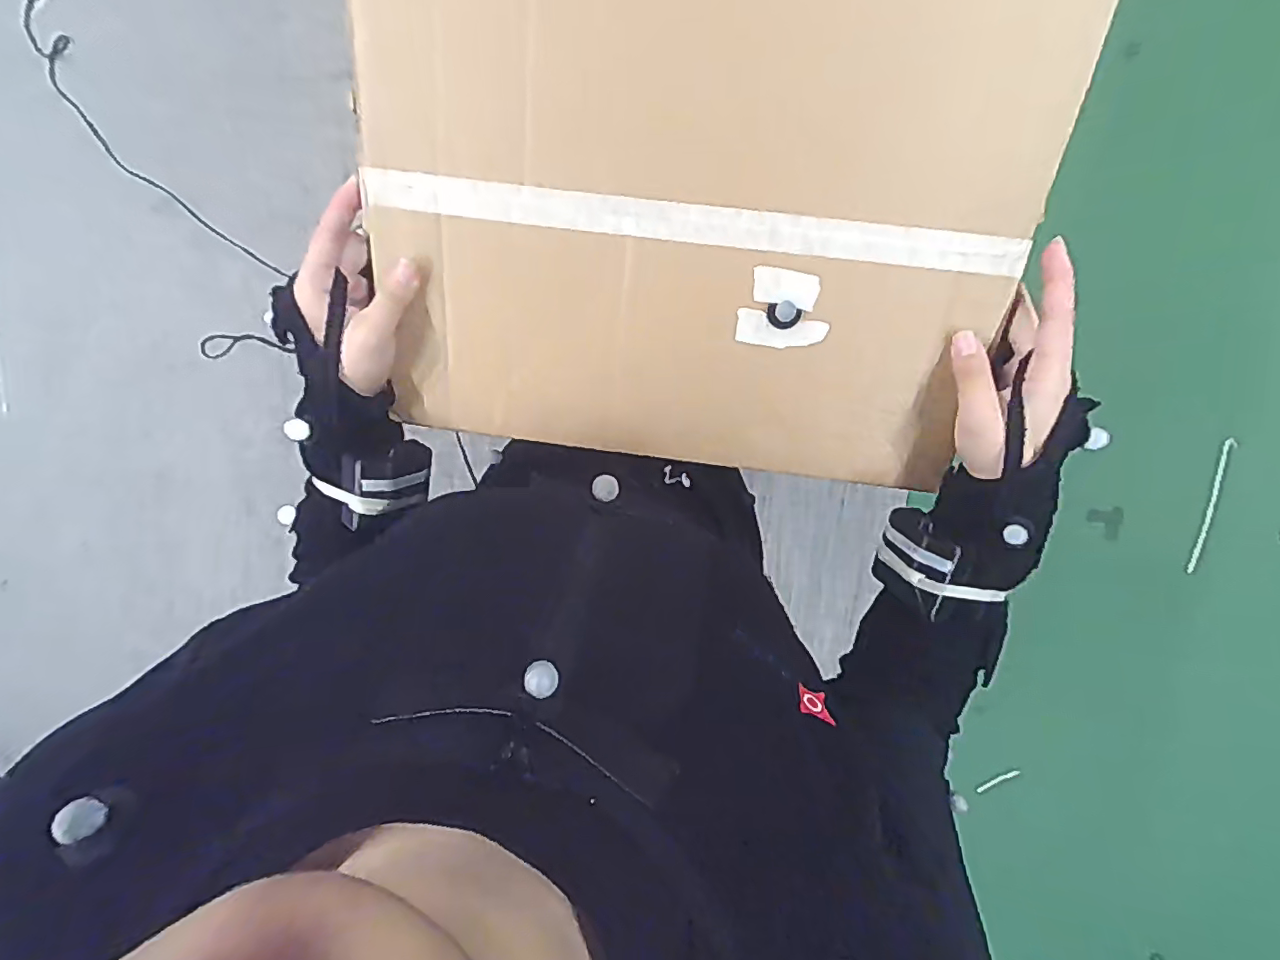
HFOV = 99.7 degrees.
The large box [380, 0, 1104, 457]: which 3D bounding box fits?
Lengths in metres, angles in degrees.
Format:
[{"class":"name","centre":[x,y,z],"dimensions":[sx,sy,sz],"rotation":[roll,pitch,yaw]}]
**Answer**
[{"class":"large box","centre":[0.048,-0.234,0.474],"dimensions":[0.408,0.320,0.320],"rotation":[7,115,1]}]
